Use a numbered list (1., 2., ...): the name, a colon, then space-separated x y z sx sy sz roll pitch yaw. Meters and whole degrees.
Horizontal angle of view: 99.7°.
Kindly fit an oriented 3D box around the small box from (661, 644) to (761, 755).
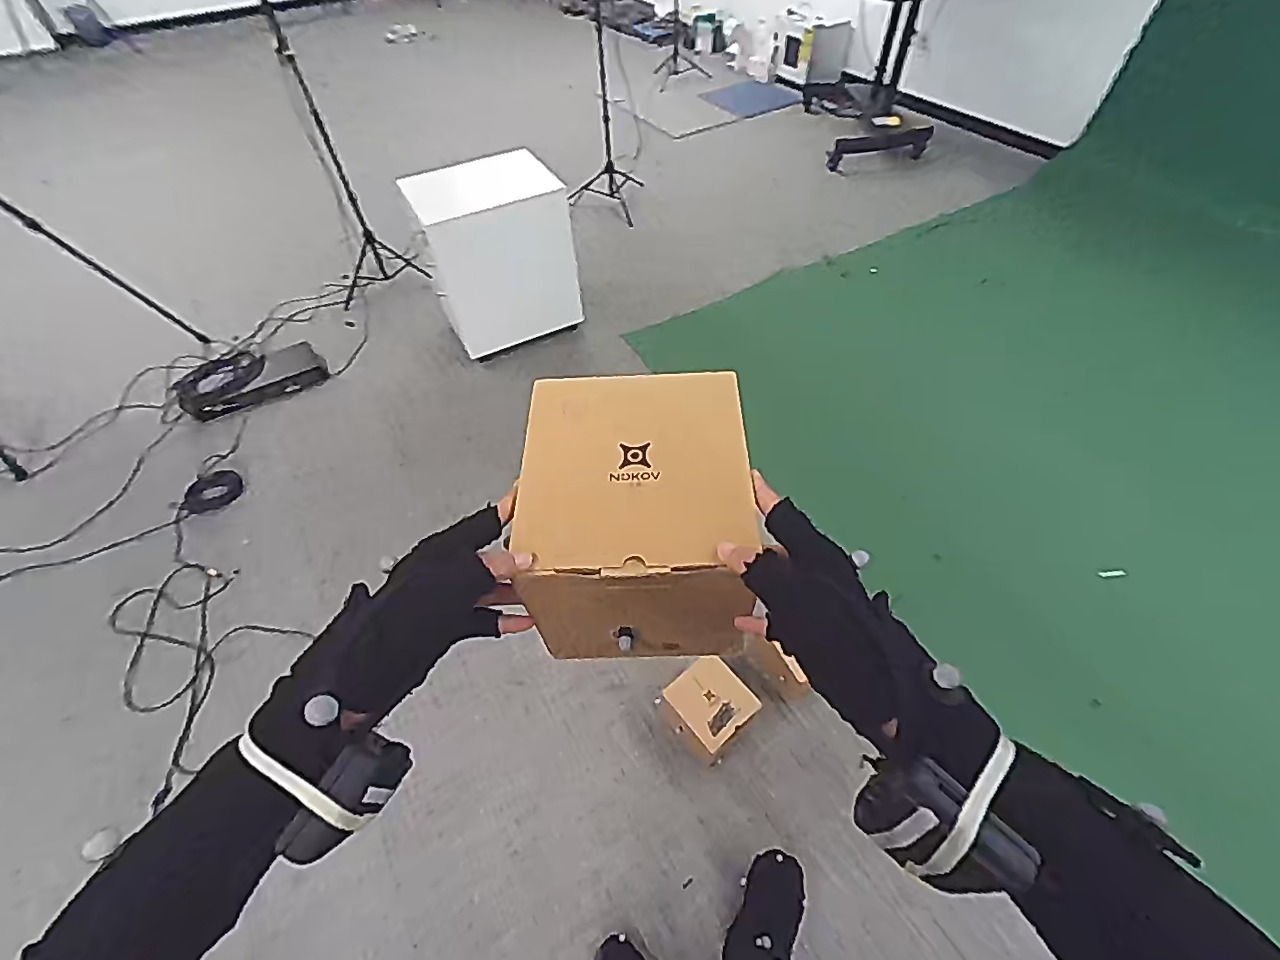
1. small box: 0.167 0.539 1.313 0.168 0.176 0.179 -34 58 -22
